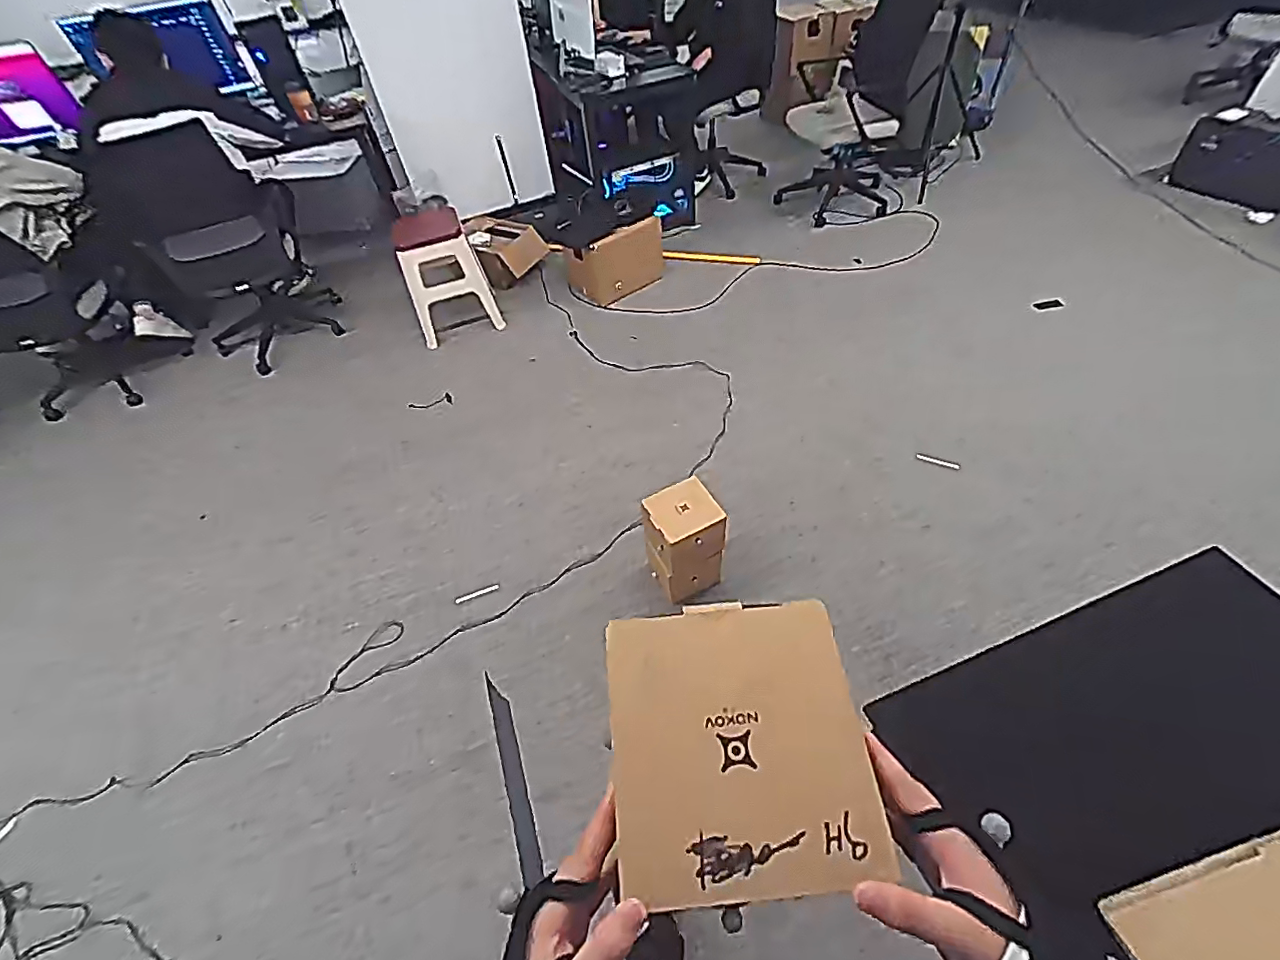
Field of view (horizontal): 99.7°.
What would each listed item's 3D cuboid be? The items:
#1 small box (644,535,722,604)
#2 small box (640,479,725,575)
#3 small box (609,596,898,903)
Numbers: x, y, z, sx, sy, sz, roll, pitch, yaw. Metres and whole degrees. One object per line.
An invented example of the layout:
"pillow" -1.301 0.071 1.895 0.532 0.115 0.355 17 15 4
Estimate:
"small box" 0.128 0.241 1.622 0.179 0.176 0.168 -23 51 -12
"small box" 0.118 0.134 1.500 0.179 0.176 0.168 -24 52 -15
"small box" 0.067 0.211 0.425 0.168 0.176 0.179 -6 56 0
